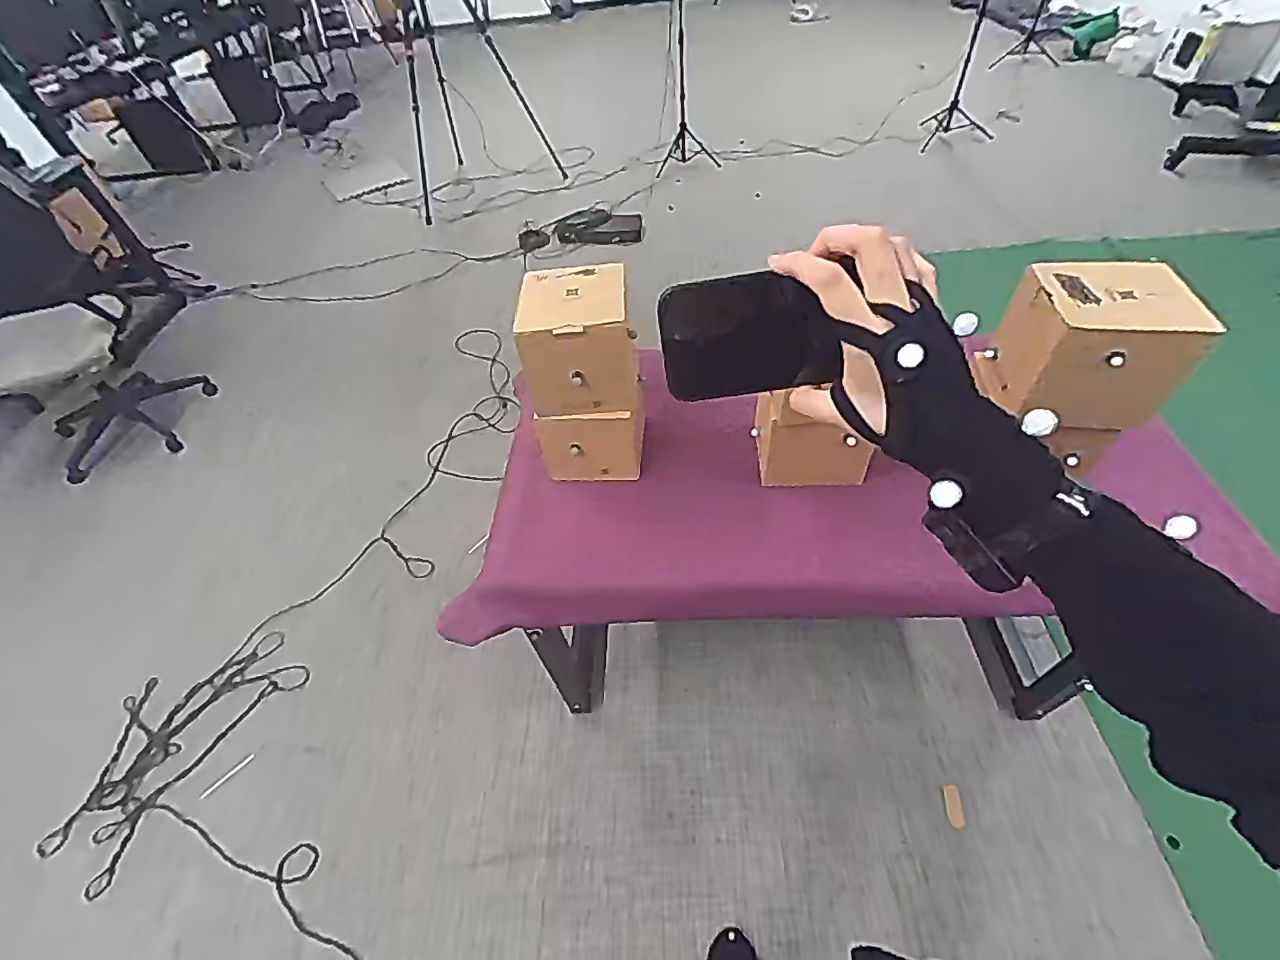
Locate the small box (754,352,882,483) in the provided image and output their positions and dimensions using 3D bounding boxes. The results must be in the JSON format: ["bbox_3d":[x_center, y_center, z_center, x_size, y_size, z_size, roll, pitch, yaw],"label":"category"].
[{"bbox_3d":[0.301,-0.106,0.953,0.179,0.176,0.168,0,50,6],"label":"small box"}]

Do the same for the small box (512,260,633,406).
[{"bbox_3d":[-0.099,-0.234,0.888,0.168,0.176,0.179,-3,51,3],"label":"small box"}]

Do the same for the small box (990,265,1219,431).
[{"bbox_3d":[0.632,-0.187,0.773,0.179,0.176,0.168,5,51,10],"label":"small box"}]

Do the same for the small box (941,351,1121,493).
[{"bbox_3d":[0.638,-0.094,0.908,0.179,0.176,0.168,5,51,10],"label":"small box"}]

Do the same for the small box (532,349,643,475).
[{"bbox_3d":[-0.086,-0.123,1.009,0.168,0.176,0.179,1,50,7],"label":"small box"}]
